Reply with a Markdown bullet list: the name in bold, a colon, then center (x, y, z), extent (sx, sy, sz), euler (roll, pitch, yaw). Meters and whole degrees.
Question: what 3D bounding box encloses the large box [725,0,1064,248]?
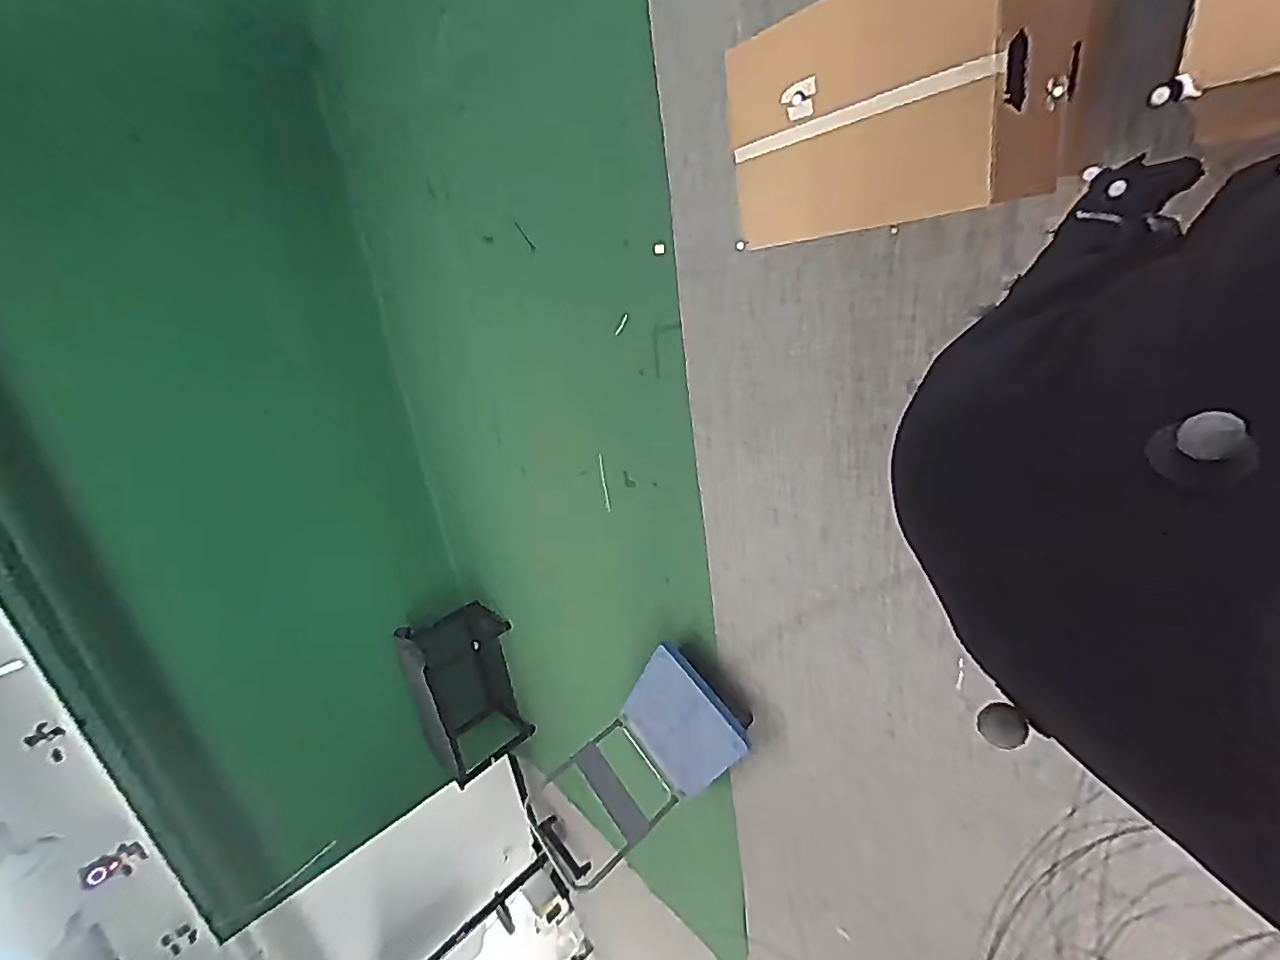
- **large box**: center (0.409, -0.599, 0.889), extent (0.408, 0.320, 0.320), euler (14, 122, 48)
